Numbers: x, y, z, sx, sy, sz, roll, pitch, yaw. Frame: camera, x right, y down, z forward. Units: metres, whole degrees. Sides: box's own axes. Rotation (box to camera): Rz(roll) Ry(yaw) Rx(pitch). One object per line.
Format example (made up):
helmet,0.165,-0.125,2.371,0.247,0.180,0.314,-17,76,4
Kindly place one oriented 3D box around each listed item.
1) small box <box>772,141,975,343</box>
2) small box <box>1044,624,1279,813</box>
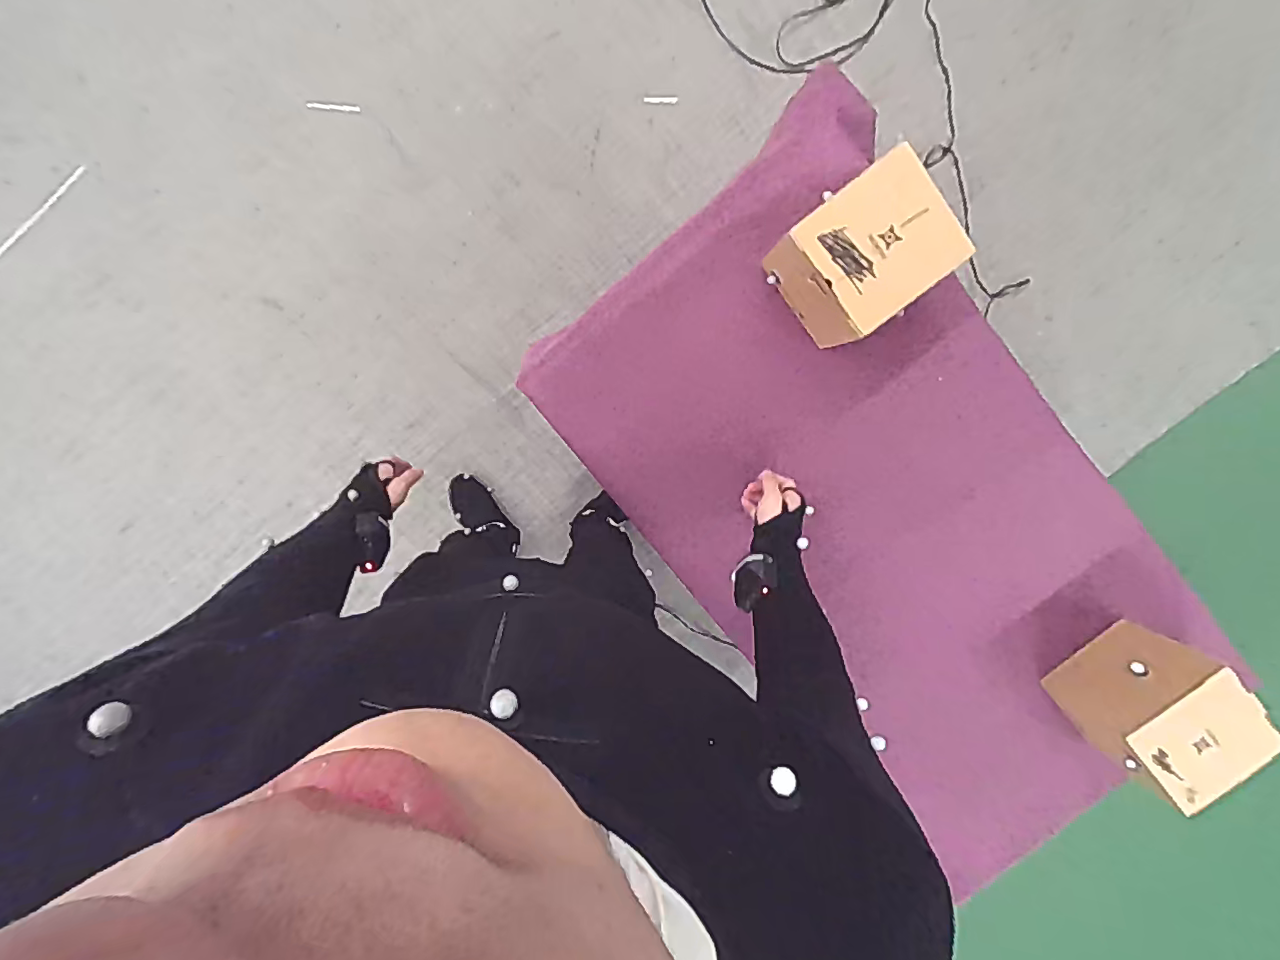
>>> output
small box,0.303,-0.310,0.751,0.179,0.176,0.168,-37,97,5
small box,0.802,0.358,0.849,0.179,0.176,0.168,-40,95,4
